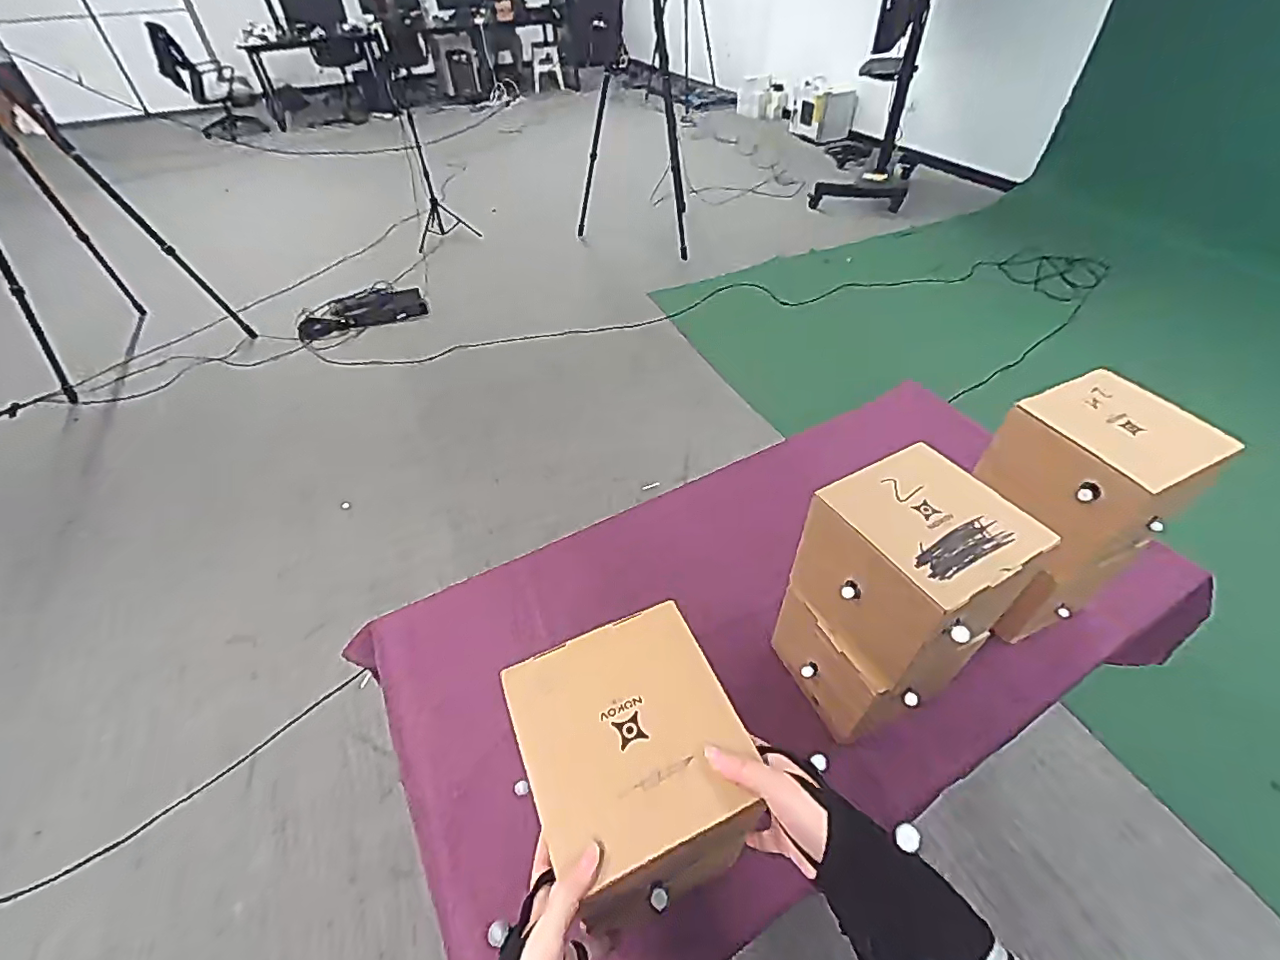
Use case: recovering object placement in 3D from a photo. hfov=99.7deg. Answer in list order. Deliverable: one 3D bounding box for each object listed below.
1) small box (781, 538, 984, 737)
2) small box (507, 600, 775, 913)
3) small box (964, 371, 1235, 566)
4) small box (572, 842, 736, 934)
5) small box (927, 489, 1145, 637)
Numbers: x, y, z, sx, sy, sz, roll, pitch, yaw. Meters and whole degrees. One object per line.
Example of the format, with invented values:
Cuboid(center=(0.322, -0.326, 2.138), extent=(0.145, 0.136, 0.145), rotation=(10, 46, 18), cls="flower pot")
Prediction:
Cuboid(center=(0.307, 0.214, 0.732), extent=(0.179, 0.176, 0.168), rotation=(-20, 48, -15), cls="small box")
Cuboid(center=(-0.006, 0.246, 0.486), extent=(0.168, 0.176, 0.179), rotation=(-19, 49, -15), cls="small box")
Cuboid(center=(0.578, -0.010, 0.709), extent=(0.168, 0.176, 0.179), rotation=(-19, 48, -16), cls="small box")
Cuboid(center=(-0.001, 0.362, 0.601), extent=(0.179, 0.176, 0.168), rotation=(-19, 48, -17), cls="small box")
Cuboid(center=(0.583, 0.105, 0.827), extent=(0.168, 0.176, 0.179), rotation=(-19, 48, -15), cls="small box")
